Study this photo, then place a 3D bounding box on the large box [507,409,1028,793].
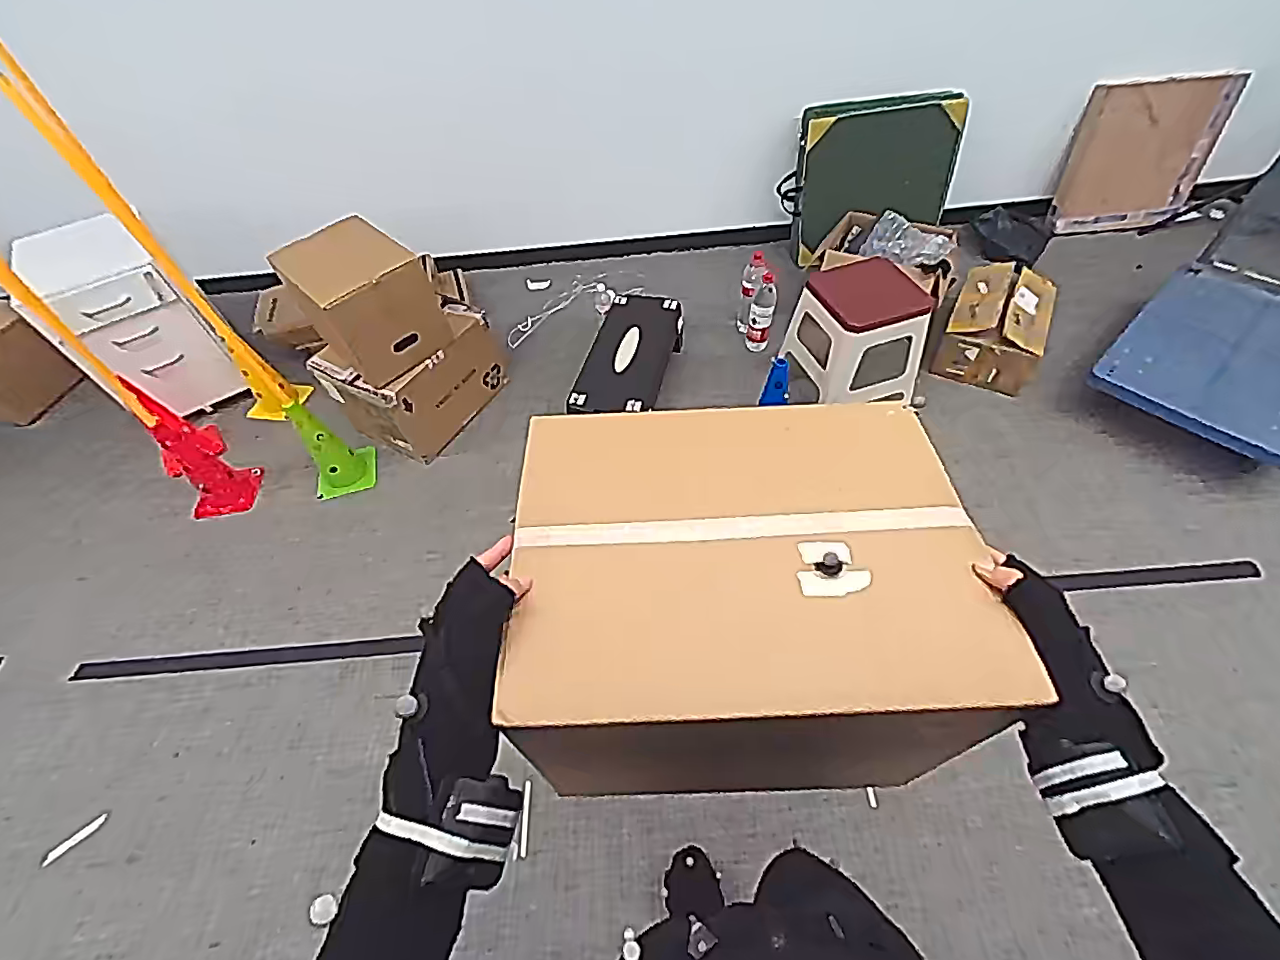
[{"bbox_3d":[0.093,0.143,0.612,0.408,0.320,0.320,-2,51,0],"label":"large box"}]
